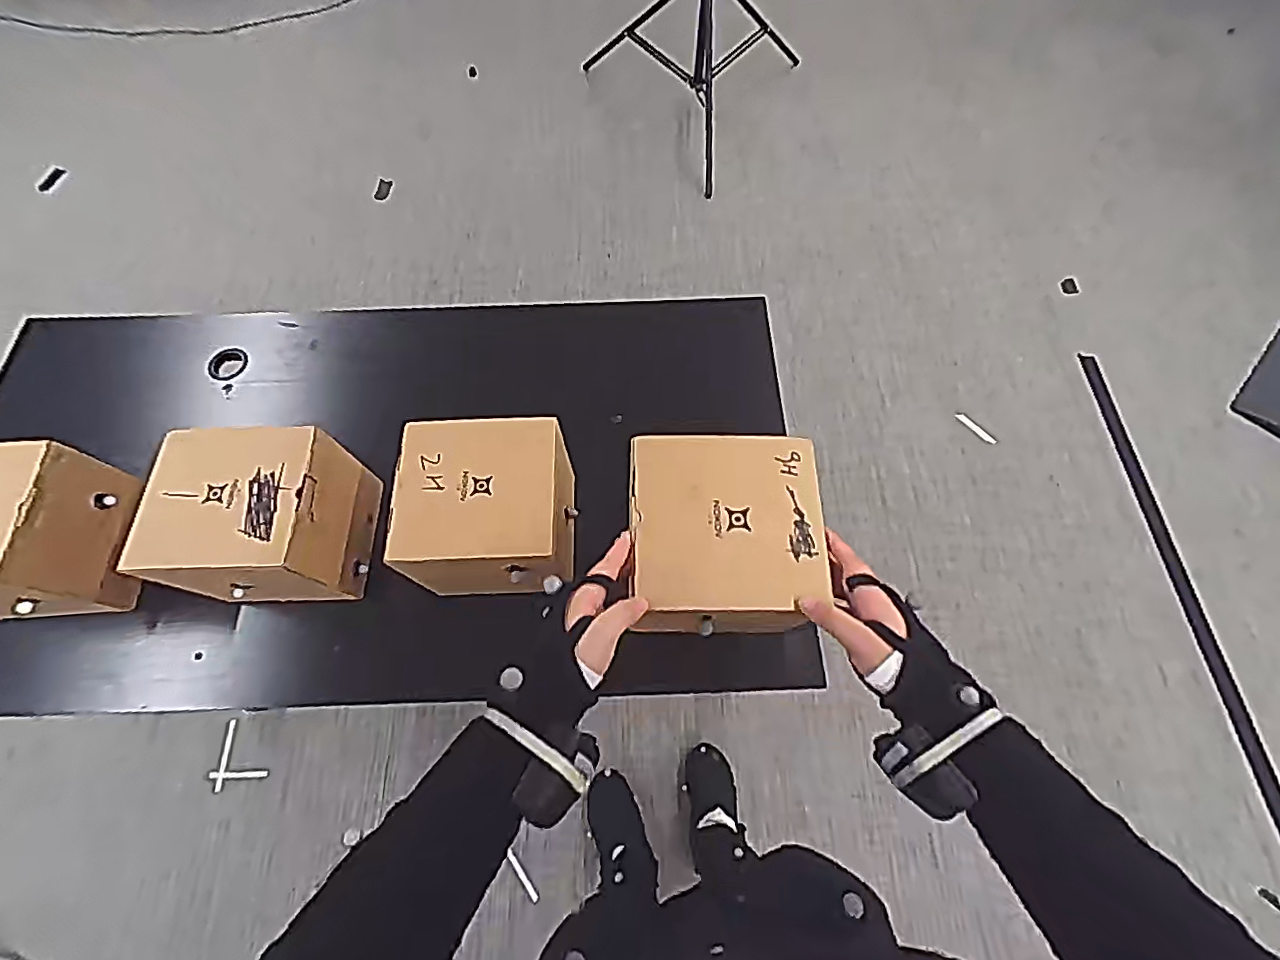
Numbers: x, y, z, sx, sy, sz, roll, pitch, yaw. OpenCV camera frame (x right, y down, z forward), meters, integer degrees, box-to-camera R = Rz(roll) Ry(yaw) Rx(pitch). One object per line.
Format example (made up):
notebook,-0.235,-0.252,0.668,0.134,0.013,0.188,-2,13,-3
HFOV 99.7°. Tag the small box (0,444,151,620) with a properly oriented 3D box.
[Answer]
small box,-0.742,0.070,0.659,0.179,0.176,0.168,-4,66,-1

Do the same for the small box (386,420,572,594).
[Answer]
small box,-0.178,0.040,0.661,0.179,0.176,0.168,-3,66,0

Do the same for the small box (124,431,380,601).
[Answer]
small box,-0.448,0.051,0.662,0.179,0.176,0.168,-2,66,1
